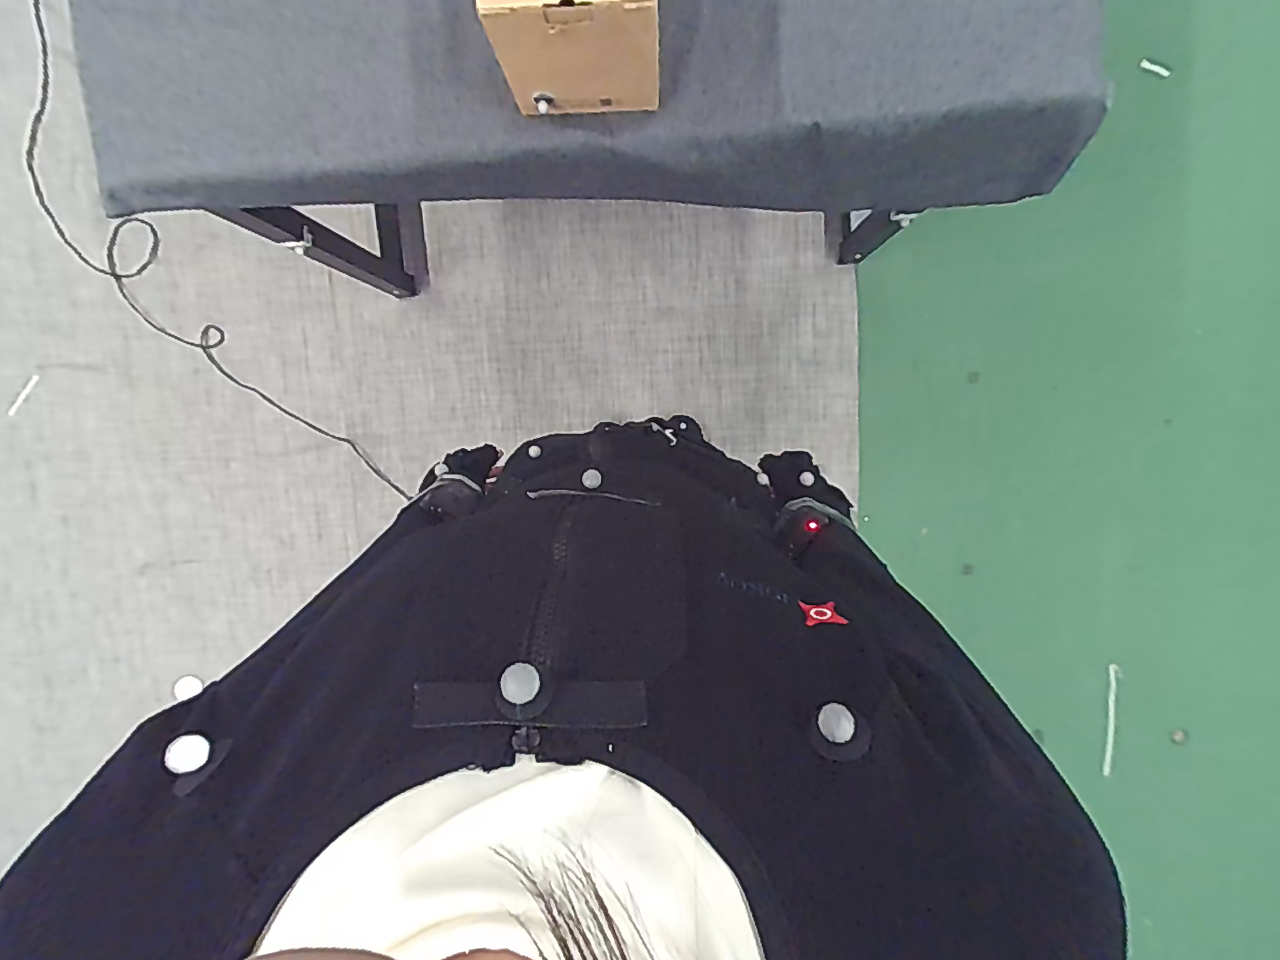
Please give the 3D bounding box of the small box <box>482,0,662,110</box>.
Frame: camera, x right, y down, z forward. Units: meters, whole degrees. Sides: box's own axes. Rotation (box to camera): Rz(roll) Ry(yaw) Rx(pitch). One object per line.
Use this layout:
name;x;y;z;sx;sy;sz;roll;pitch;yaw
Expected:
small box;-0.061;-0.521;0.566;0.168;0.176;0.179;0;95;1
